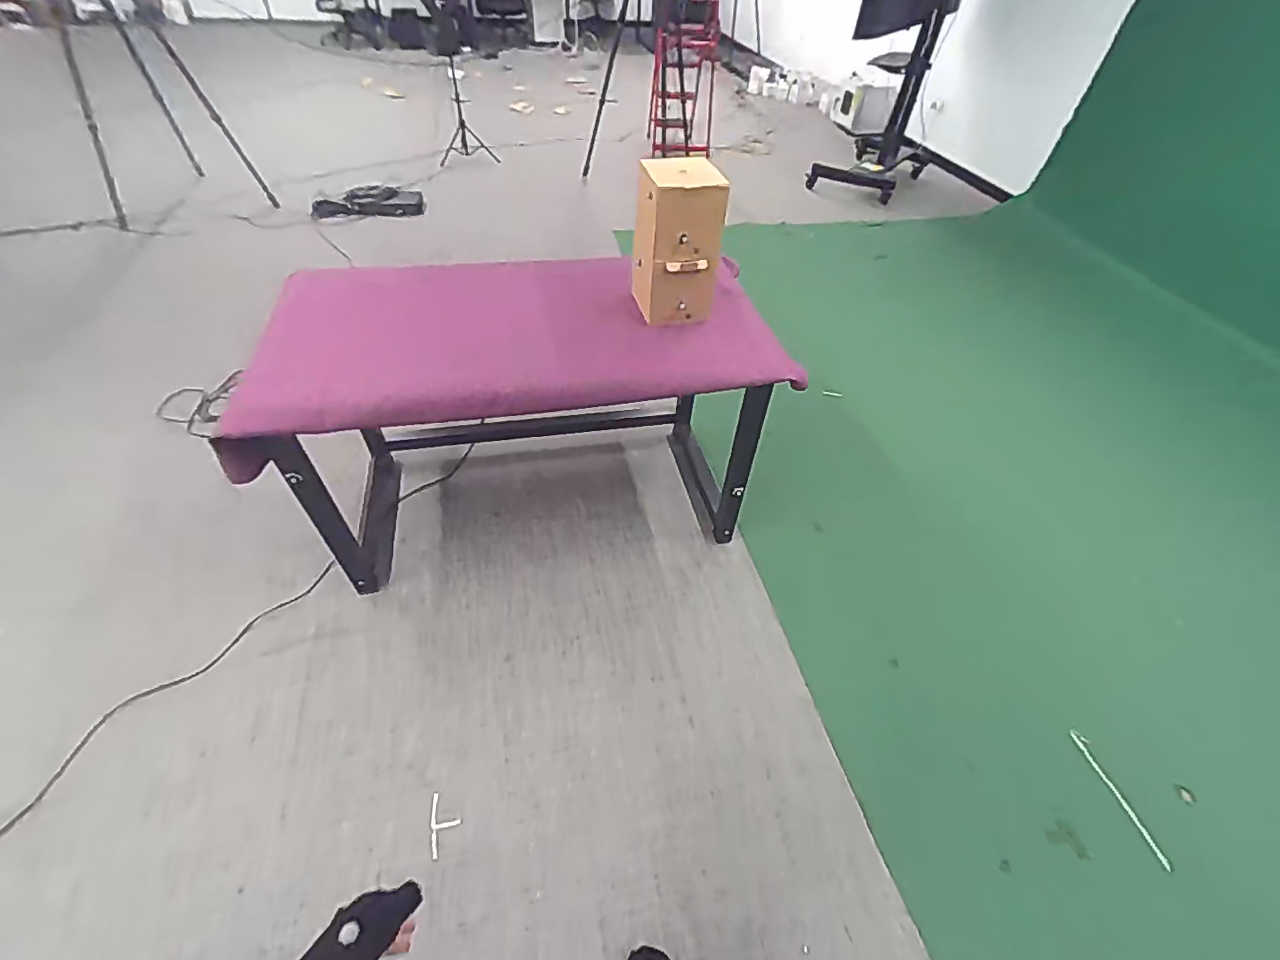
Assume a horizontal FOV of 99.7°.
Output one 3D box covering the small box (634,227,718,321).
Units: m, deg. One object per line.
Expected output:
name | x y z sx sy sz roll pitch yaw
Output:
small box | 0.083 -0.527 1.375 0.168 0.176 0.179 -10 49 -11

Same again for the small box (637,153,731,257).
small box | 0.093 -0.640 1.257 0.168 0.176 0.179 -9 50 -12
